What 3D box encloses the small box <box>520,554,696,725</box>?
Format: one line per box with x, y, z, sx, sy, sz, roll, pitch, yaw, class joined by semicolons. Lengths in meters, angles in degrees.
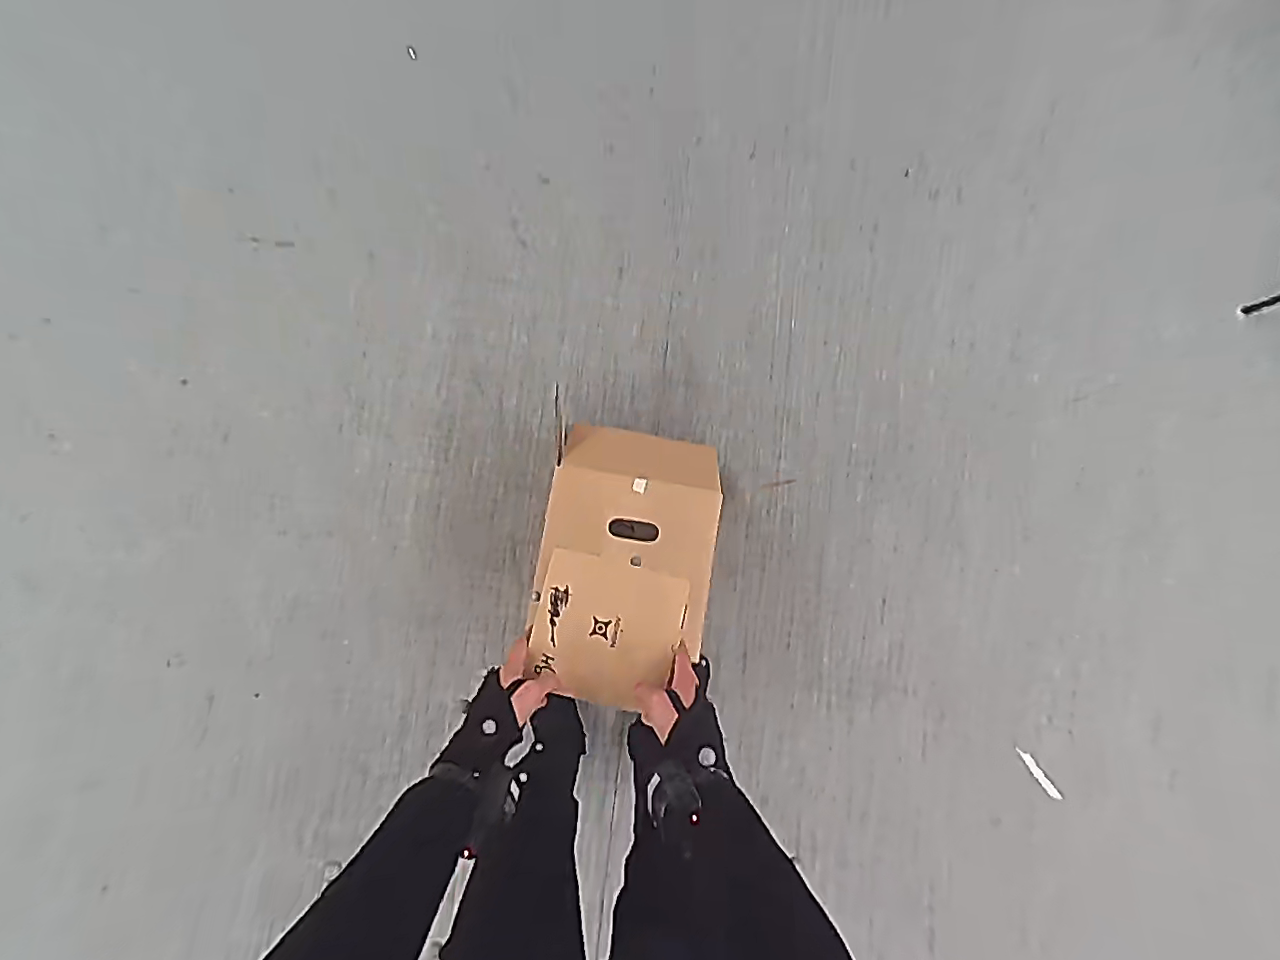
-0.040;0.196;0.710;0.179;0.176;0.168;14;80;-1;small box
